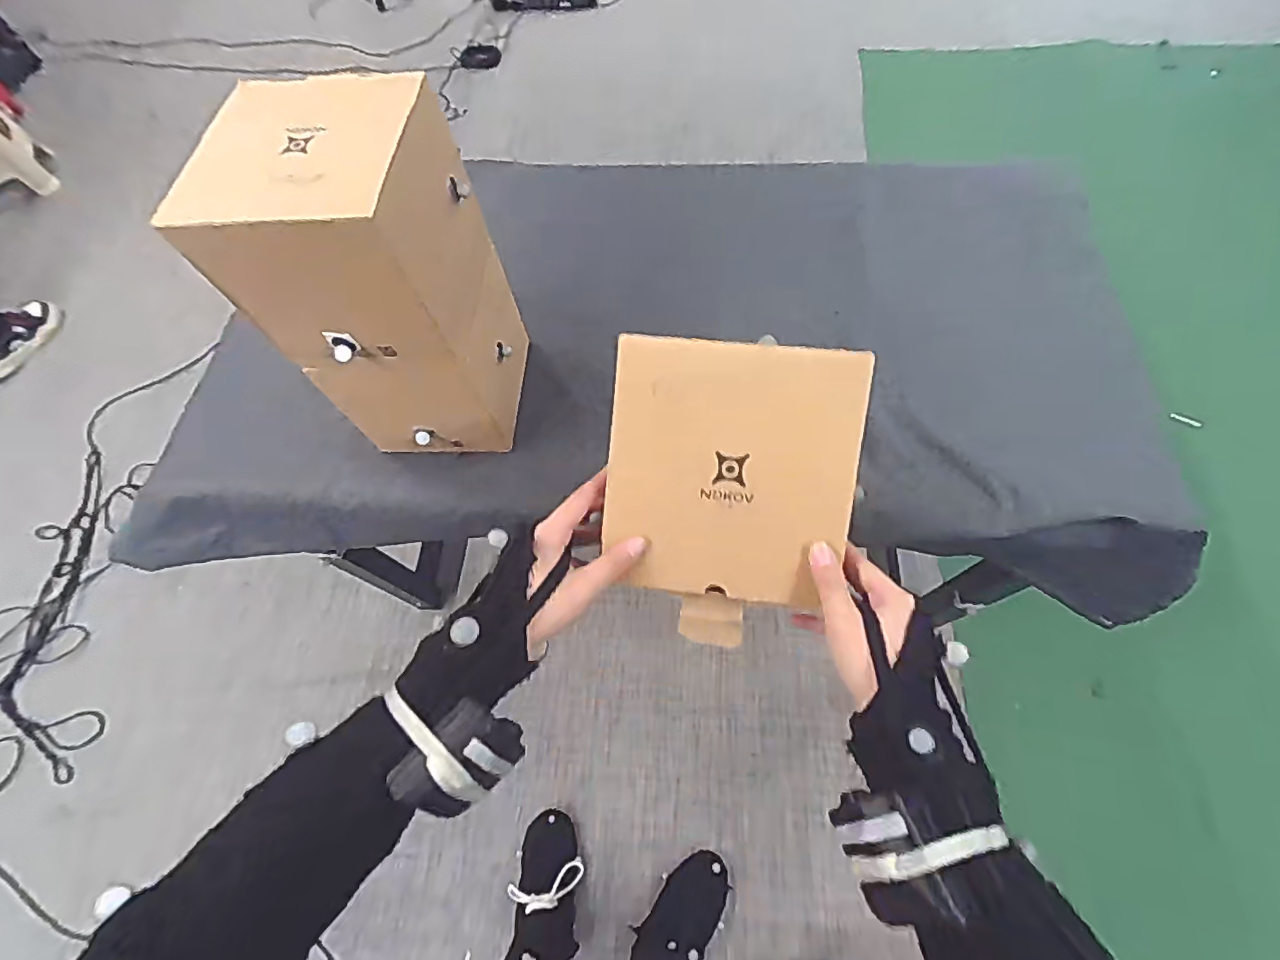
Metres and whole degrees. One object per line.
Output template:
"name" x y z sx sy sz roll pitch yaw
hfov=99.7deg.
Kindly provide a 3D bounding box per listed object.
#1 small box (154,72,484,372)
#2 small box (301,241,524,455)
"small box" -0.249 -0.216 0.476 0.168 0.176 0.179 -1 65 5
"small box" -0.239 -0.145 0.622 0.168 0.176 0.179 0 64 4
